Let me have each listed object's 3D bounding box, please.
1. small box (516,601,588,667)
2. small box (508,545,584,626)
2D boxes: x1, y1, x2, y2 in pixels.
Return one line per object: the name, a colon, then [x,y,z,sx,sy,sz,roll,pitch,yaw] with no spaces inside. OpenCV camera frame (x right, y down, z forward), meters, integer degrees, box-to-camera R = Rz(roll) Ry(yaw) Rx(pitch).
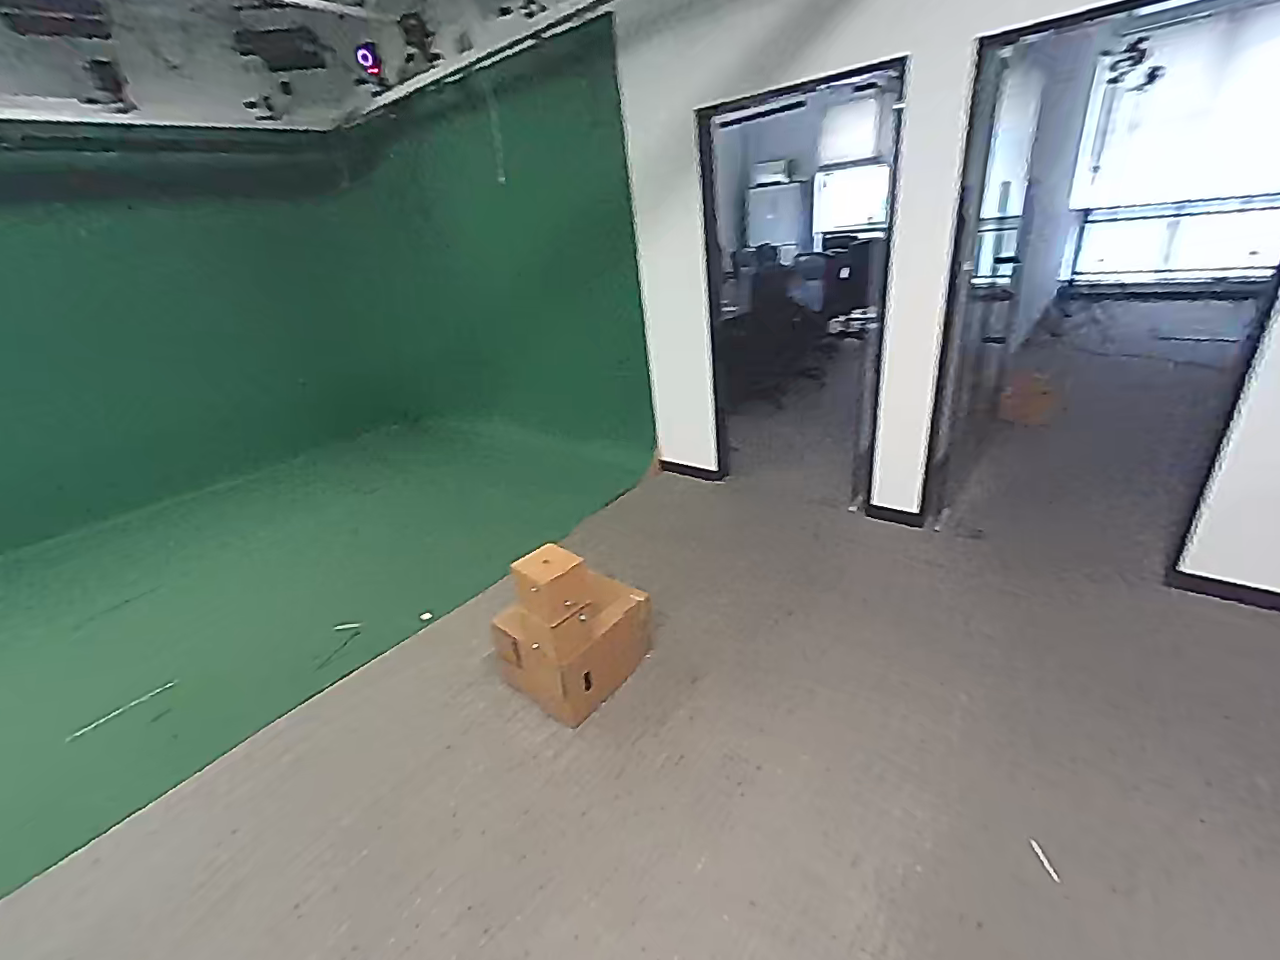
small box: [-0.291,0.489,1.821,0.168,0.176,0.179,16,33,39]
small box: [-0.302,0.342,1.753,0.179,0.176,0.168,18,33,39]
